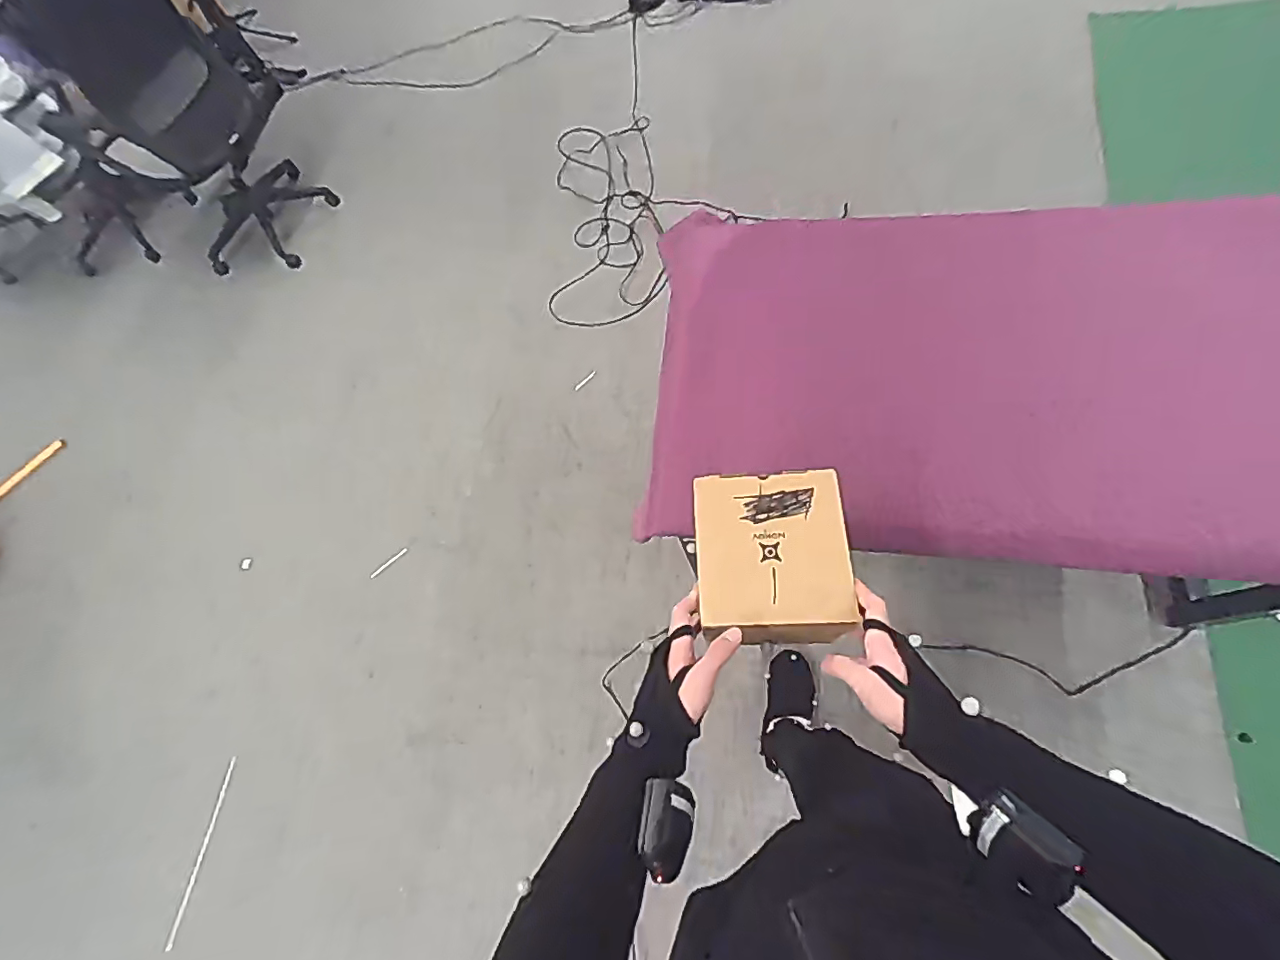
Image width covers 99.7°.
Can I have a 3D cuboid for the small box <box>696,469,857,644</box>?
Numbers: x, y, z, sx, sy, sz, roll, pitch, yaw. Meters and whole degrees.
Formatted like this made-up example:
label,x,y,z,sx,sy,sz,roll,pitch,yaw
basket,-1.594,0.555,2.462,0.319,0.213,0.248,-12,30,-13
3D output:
label,x,y,z,sx,sy,sz,roll,pitch,yaw
small box,0.156,0.103,0.672,0.168,0.176,0.179,-4,66,8
